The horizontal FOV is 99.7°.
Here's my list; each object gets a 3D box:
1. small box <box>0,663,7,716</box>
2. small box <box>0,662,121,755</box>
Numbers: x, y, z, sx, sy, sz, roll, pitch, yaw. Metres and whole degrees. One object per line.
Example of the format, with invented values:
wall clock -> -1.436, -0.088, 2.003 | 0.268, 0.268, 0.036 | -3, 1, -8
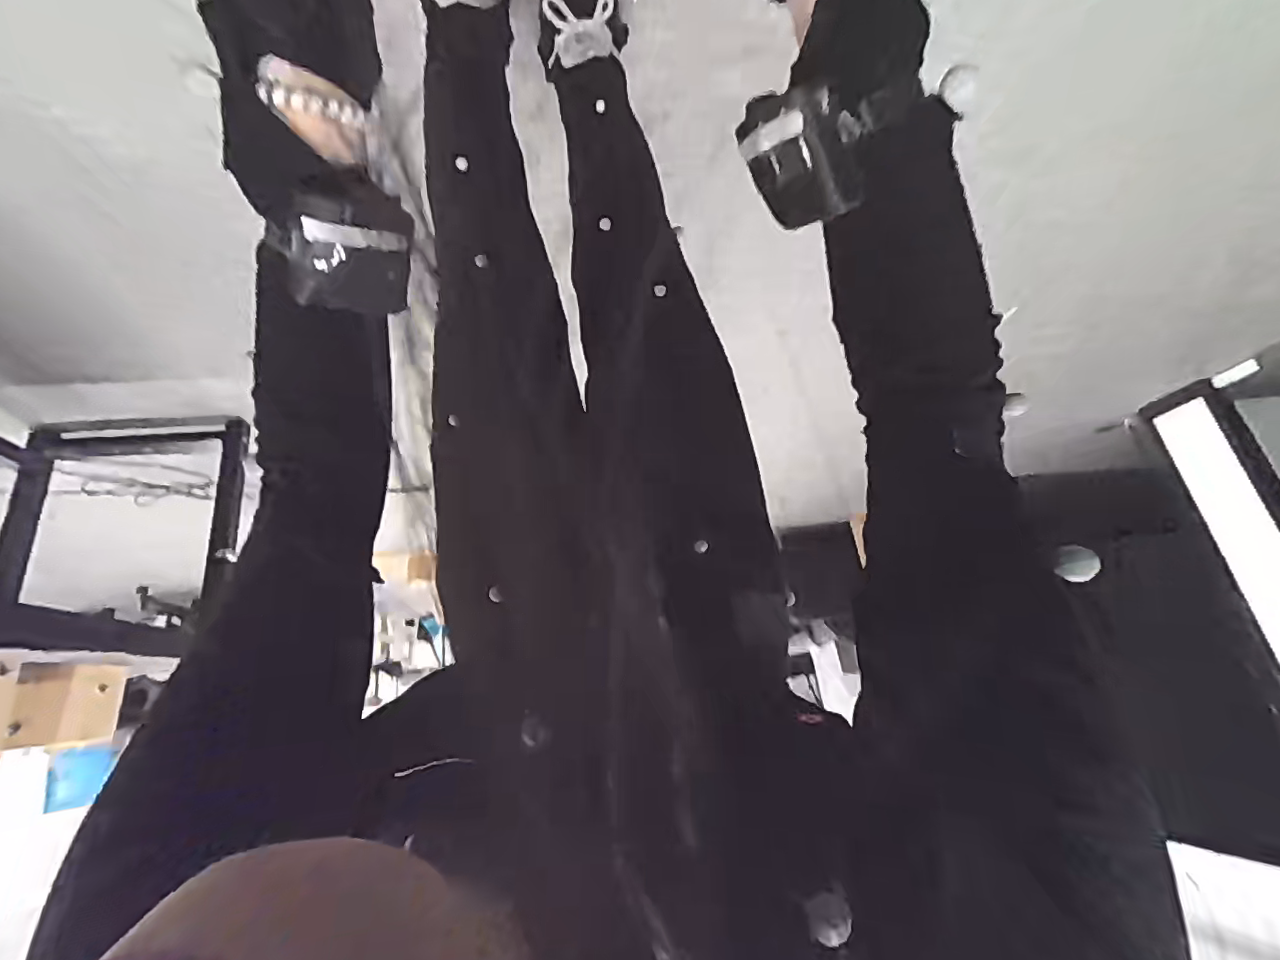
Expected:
small box -> -1.271, 0.400, 0.934 | 0.179, 0.176, 0.168 | -3, 159, -11
small box -> -1.318, 0.506, 1.197 | 0.179, 0.176, 0.168 | -4, 158, -10
